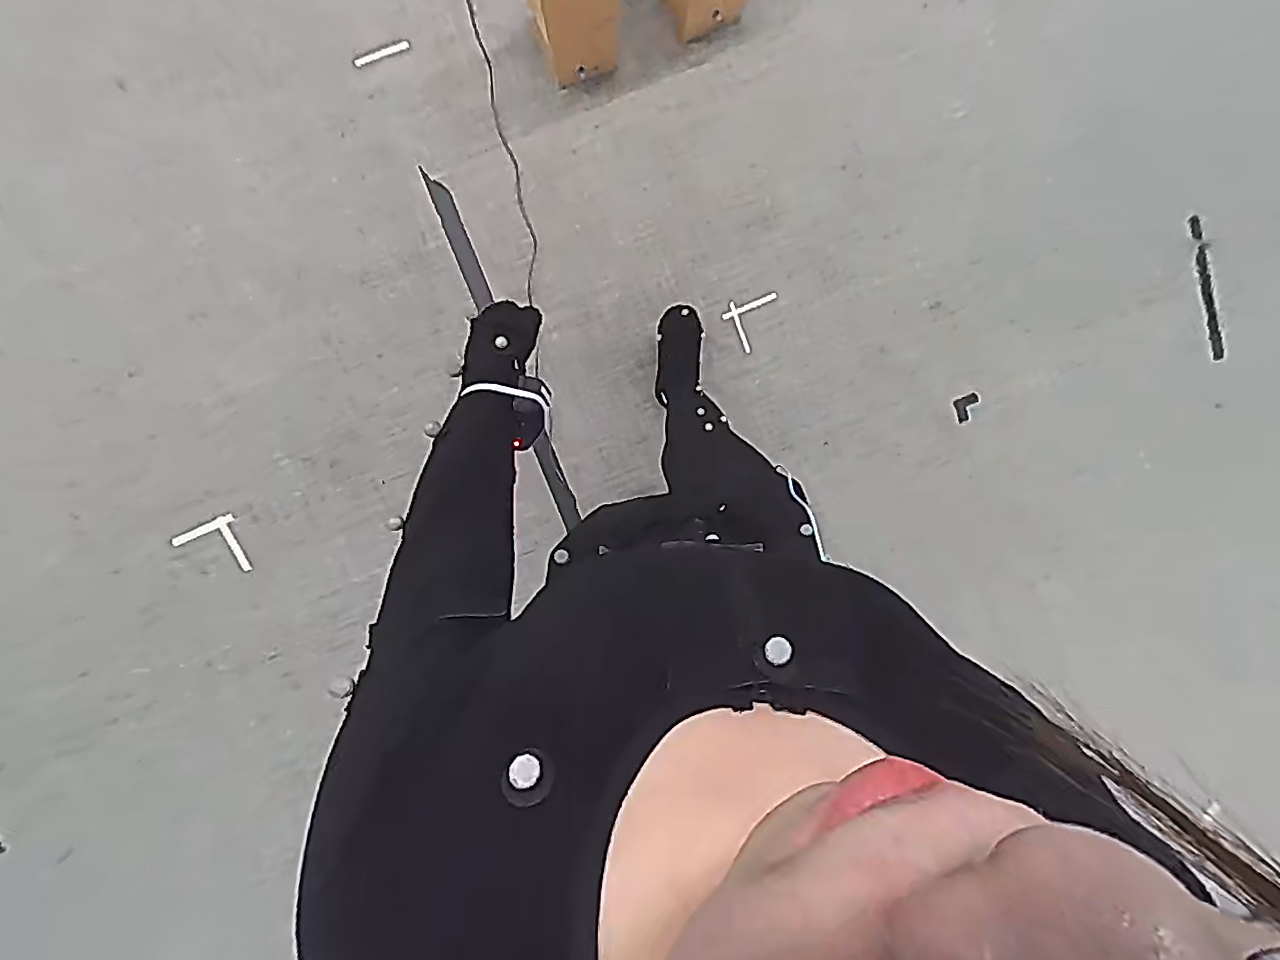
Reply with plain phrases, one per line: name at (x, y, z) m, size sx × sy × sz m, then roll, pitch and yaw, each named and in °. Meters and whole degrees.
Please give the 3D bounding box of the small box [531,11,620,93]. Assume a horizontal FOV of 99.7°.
small box at (-0.151, -1.044, 1.238) m, size 0.168 × 0.176 × 0.179 m, roll -20°, pitch 99°, yaw 0°

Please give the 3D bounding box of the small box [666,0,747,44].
small box at (0.146, -1.165, 1.237) m, size 0.168 × 0.176 × 0.179 m, roll -23°, pitch 99°, yaw 0°

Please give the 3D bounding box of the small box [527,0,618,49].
small box at (-0.150, -1.019, 1.078) m, size 0.179 × 0.176 × 0.168 m, roll -24°, pitch 98°, yaw 1°
